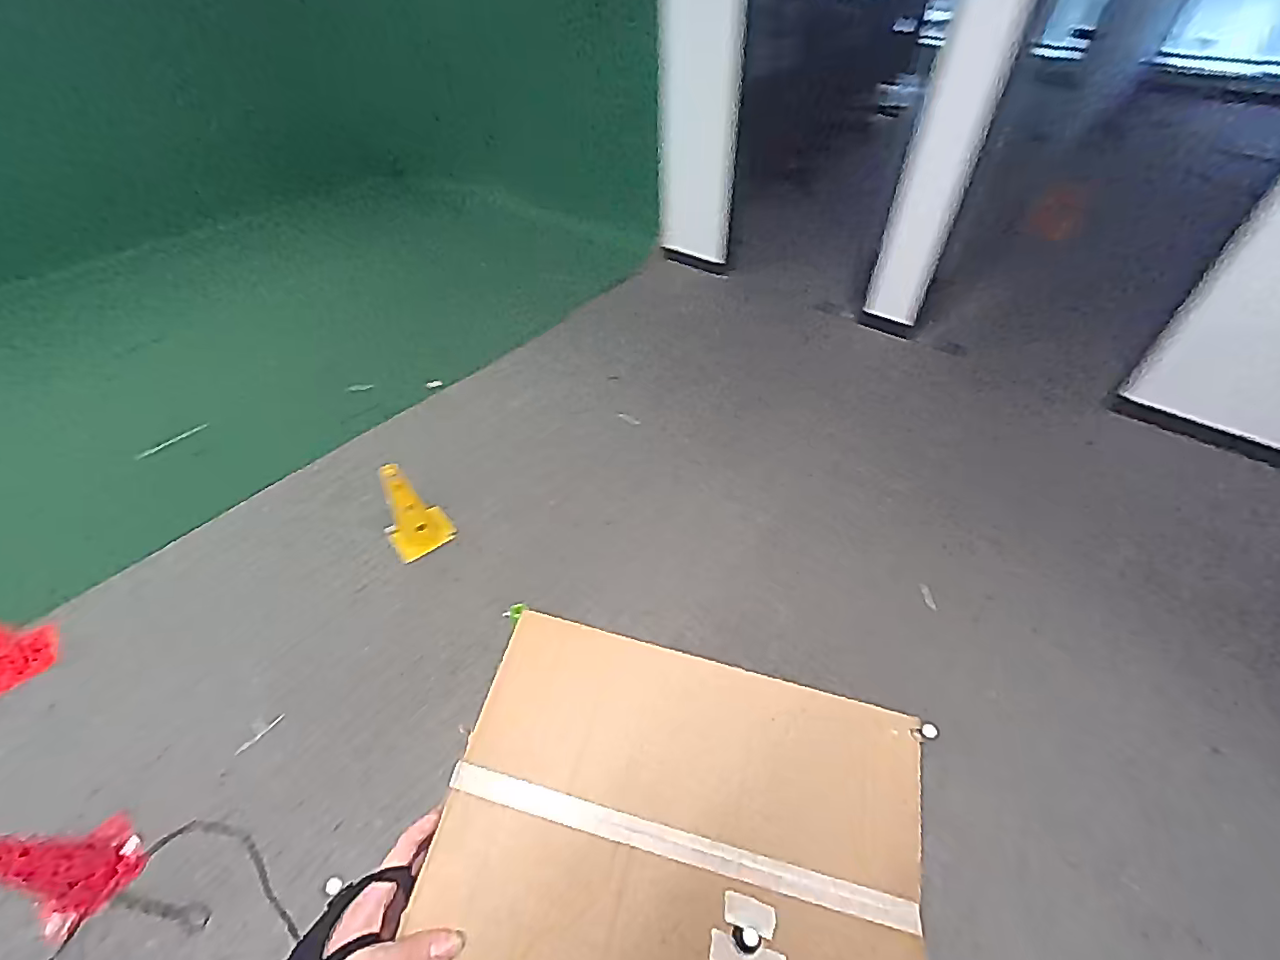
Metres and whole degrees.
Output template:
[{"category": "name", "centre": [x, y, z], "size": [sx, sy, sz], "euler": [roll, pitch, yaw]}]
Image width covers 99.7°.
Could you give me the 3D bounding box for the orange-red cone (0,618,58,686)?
[{"category": "orange-red cone", "centre": [-2.038, 0.450, 1.647], "size": [0.199, 0.360, 0.198], "euler": [-34, 53, -24]}]
